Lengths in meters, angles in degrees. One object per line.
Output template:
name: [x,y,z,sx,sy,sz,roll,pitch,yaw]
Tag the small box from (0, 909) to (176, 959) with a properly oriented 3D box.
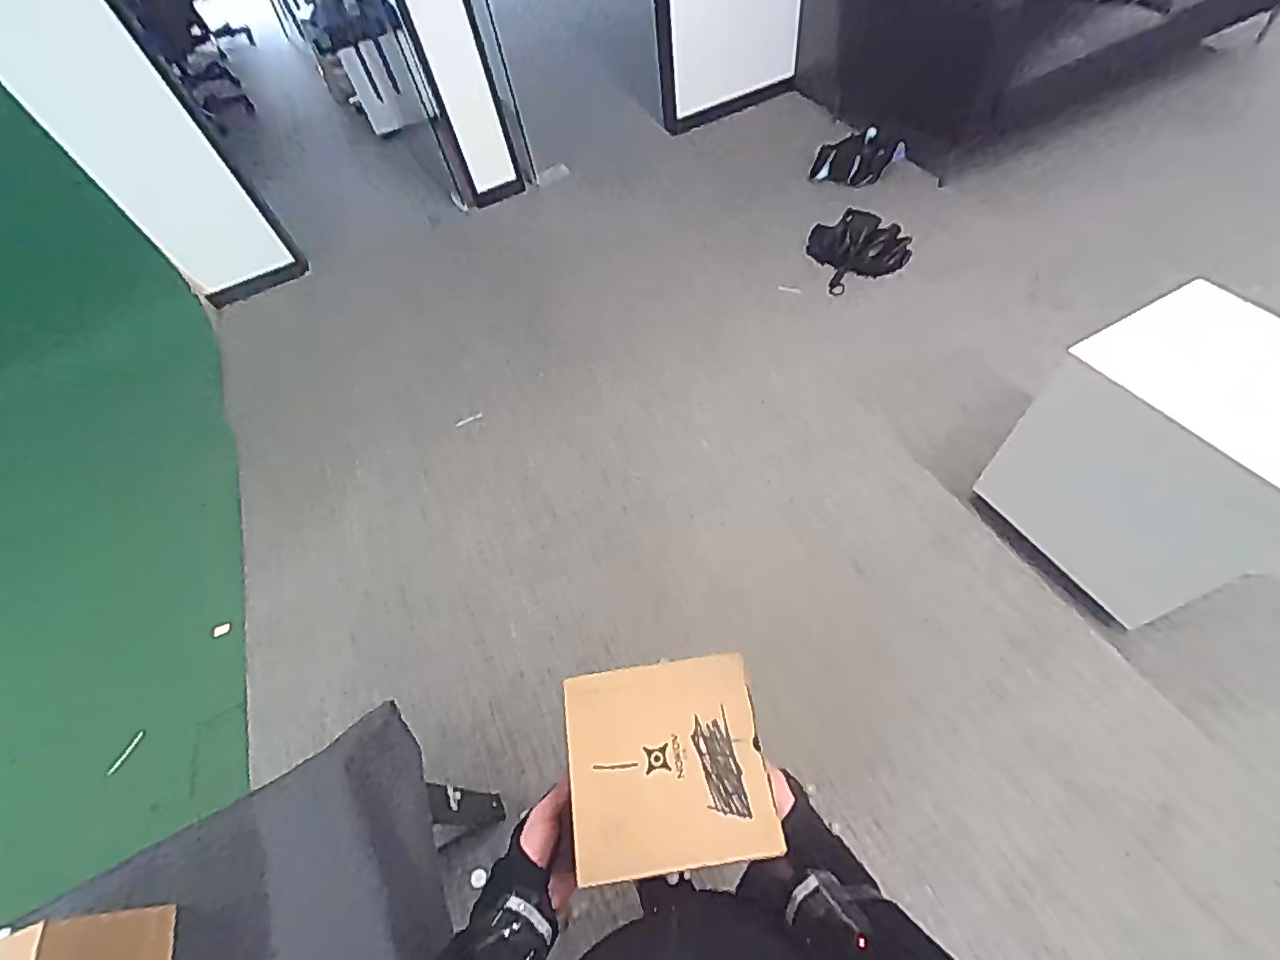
small box: [-0.636,0.590,0.563,0.168,0.176,0.179,-21,57,-7]
